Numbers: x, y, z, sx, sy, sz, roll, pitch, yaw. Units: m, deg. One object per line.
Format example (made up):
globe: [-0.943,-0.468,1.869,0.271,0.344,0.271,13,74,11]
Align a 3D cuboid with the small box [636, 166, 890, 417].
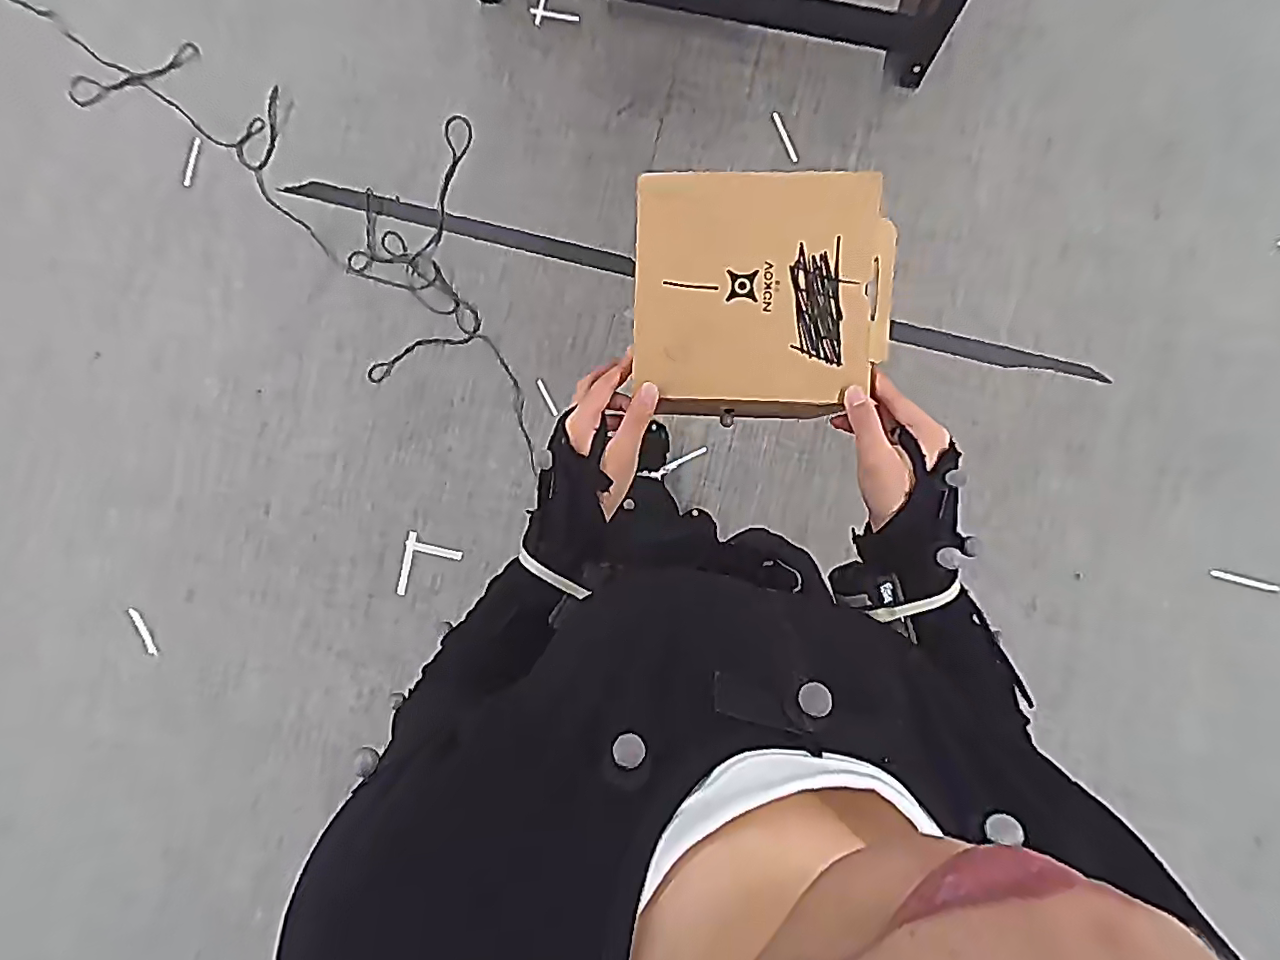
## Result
small box: [0.091,-0.144,0.469,0.179,0.176,0.168,2,93,4]
